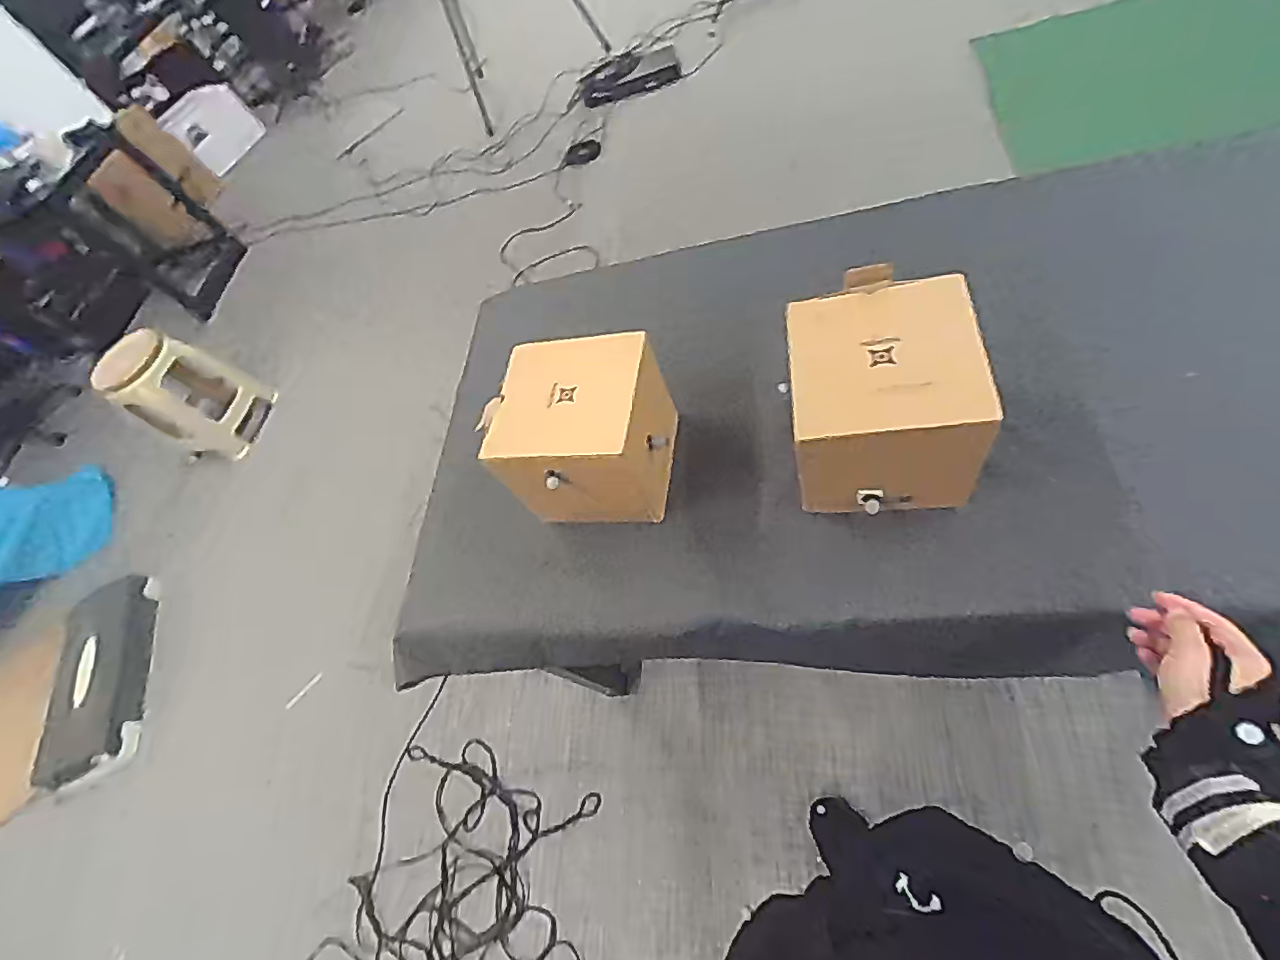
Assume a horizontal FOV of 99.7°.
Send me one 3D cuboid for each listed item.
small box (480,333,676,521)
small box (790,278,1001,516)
[{"bbox_3d":[-0.061,-0.057,0.671,0.179,0.176,0.168,-1,61,19],"label":"small box"},{"bbox_3d":[0.251,-0.078,0.575,0.168,0.176,0.179,-6,60,17],"label":"small box"}]
